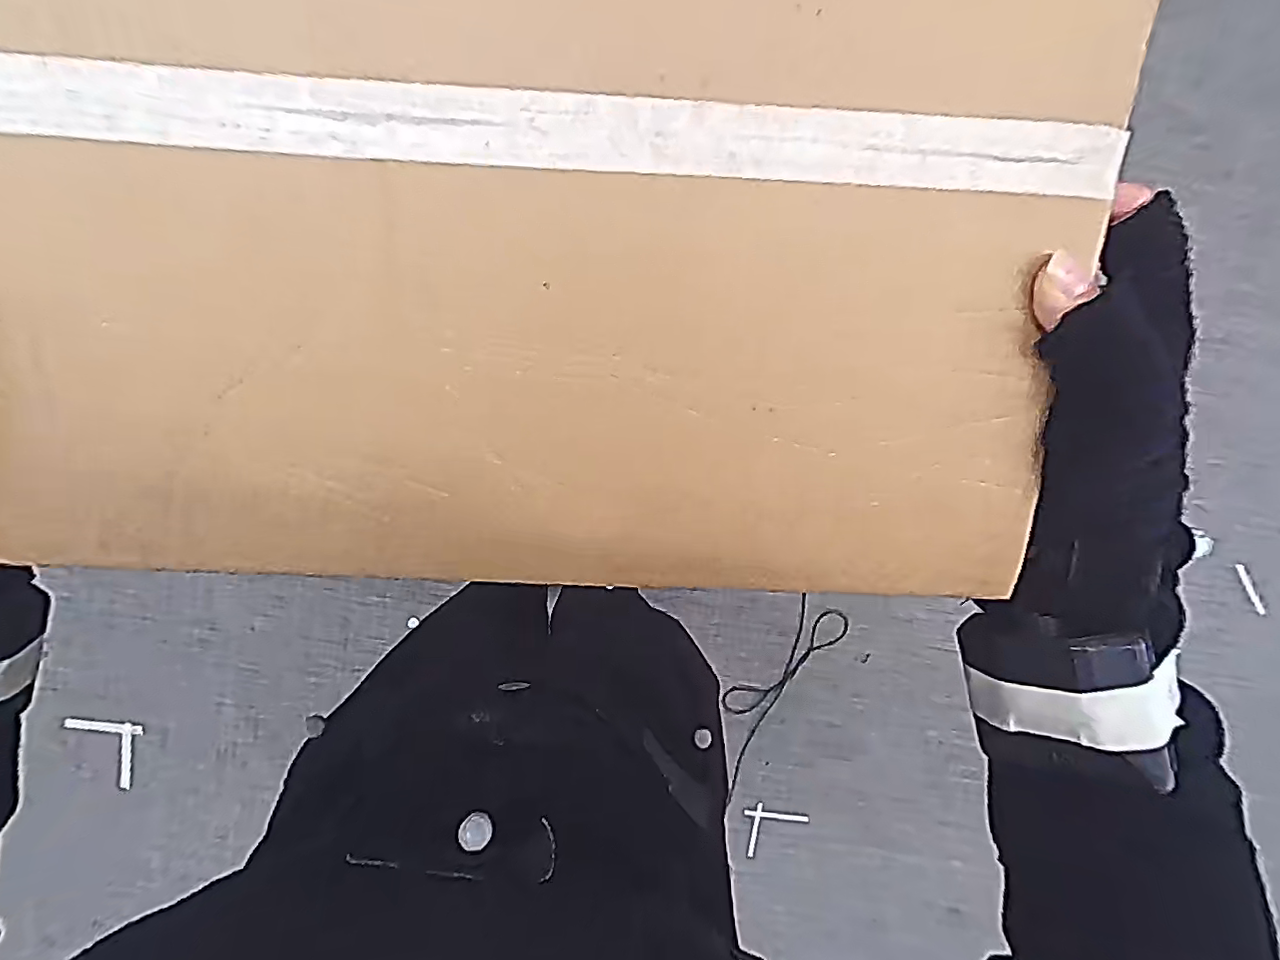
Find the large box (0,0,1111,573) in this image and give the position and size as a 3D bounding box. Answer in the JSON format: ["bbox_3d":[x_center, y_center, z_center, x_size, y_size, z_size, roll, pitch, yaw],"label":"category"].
[{"bbox_3d":[-0.050,-0.155,0.329,0.408,0.320,0.320,3,105,-3],"label":"large box"}]
